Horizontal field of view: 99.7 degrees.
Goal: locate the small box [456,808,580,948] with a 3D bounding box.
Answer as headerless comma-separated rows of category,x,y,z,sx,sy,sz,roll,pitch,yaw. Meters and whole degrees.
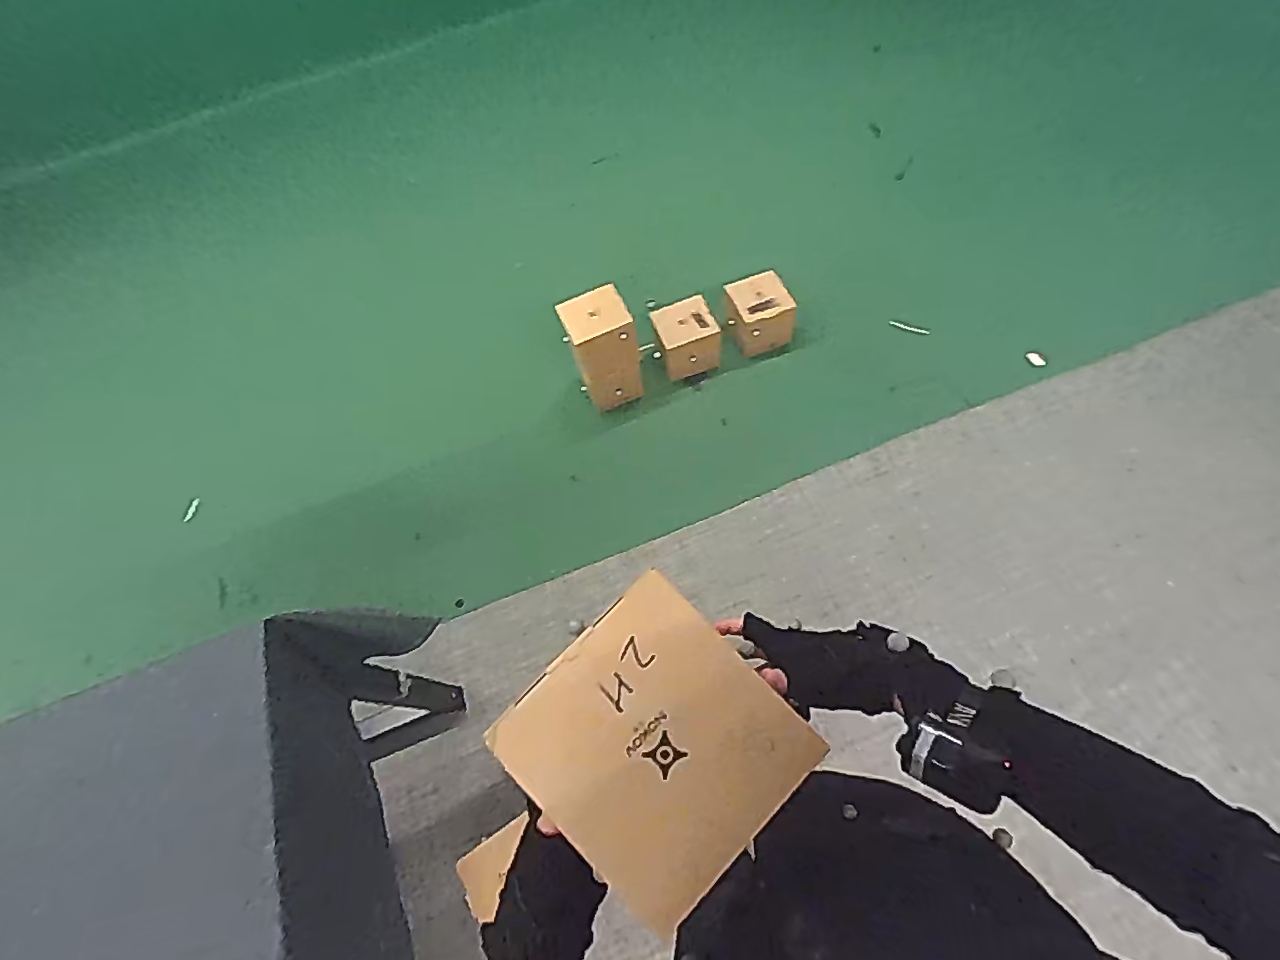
small box,-0.250,0.826,1.146,0.179,0.176,0.168,-33,65,-8

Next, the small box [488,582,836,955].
small box,0.014,0.198,0.436,0.168,0.176,0.179,-42,82,-9

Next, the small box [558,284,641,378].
small box,-0.113,-0.424,1.562,0.179,0.176,0.168,-24,63,-5

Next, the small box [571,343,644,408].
small box,-0.097,-0.351,1.708,0.168,0.176,0.179,-23,64,-4
